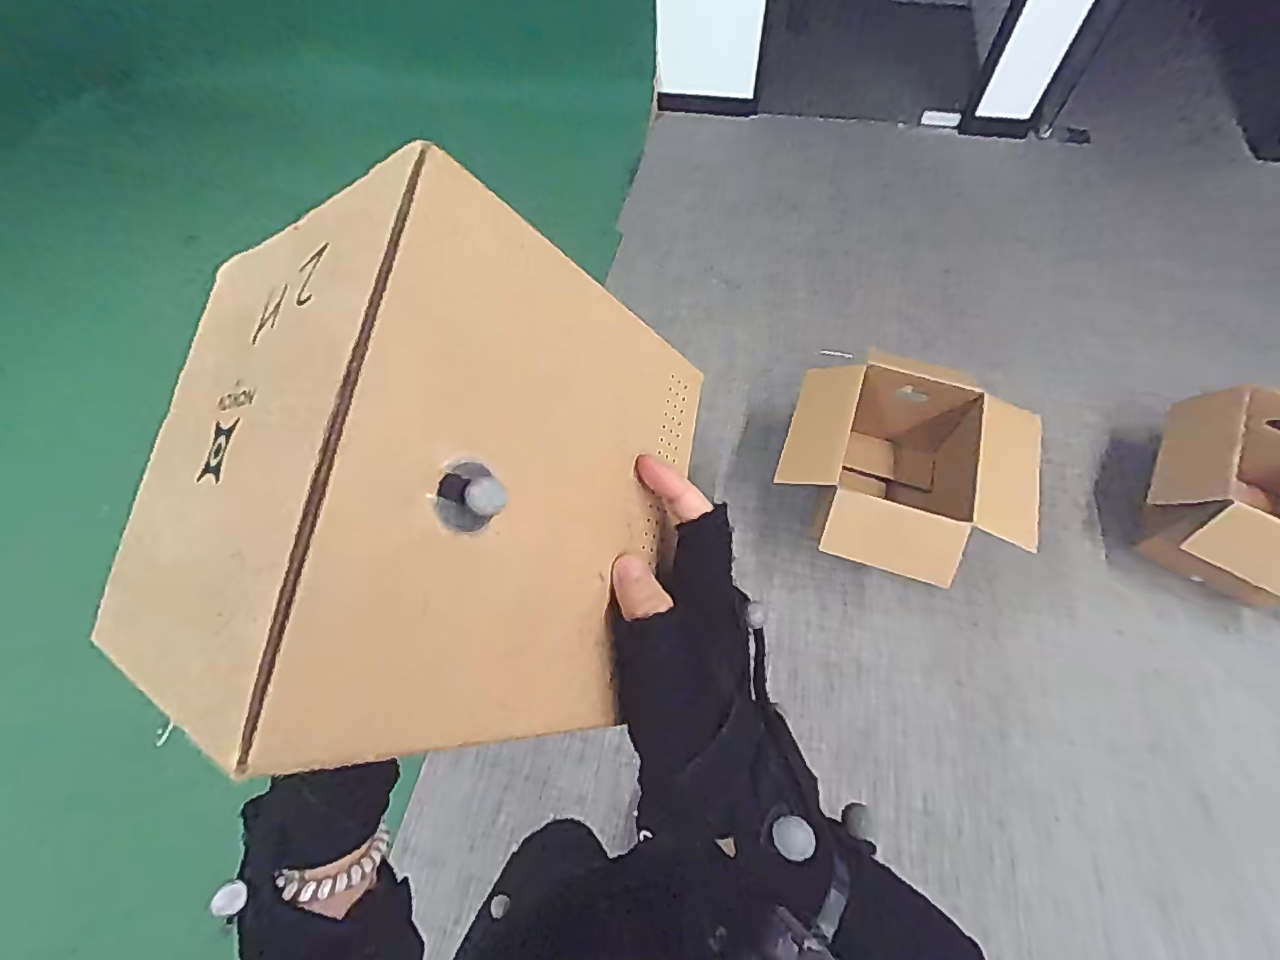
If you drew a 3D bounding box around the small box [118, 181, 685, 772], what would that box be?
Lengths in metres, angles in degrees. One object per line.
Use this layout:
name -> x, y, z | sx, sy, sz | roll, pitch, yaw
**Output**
small box -> -0.094, 0.010, 0.259 | 0.168, 0.176, 0.179 | 0, 74, 36
